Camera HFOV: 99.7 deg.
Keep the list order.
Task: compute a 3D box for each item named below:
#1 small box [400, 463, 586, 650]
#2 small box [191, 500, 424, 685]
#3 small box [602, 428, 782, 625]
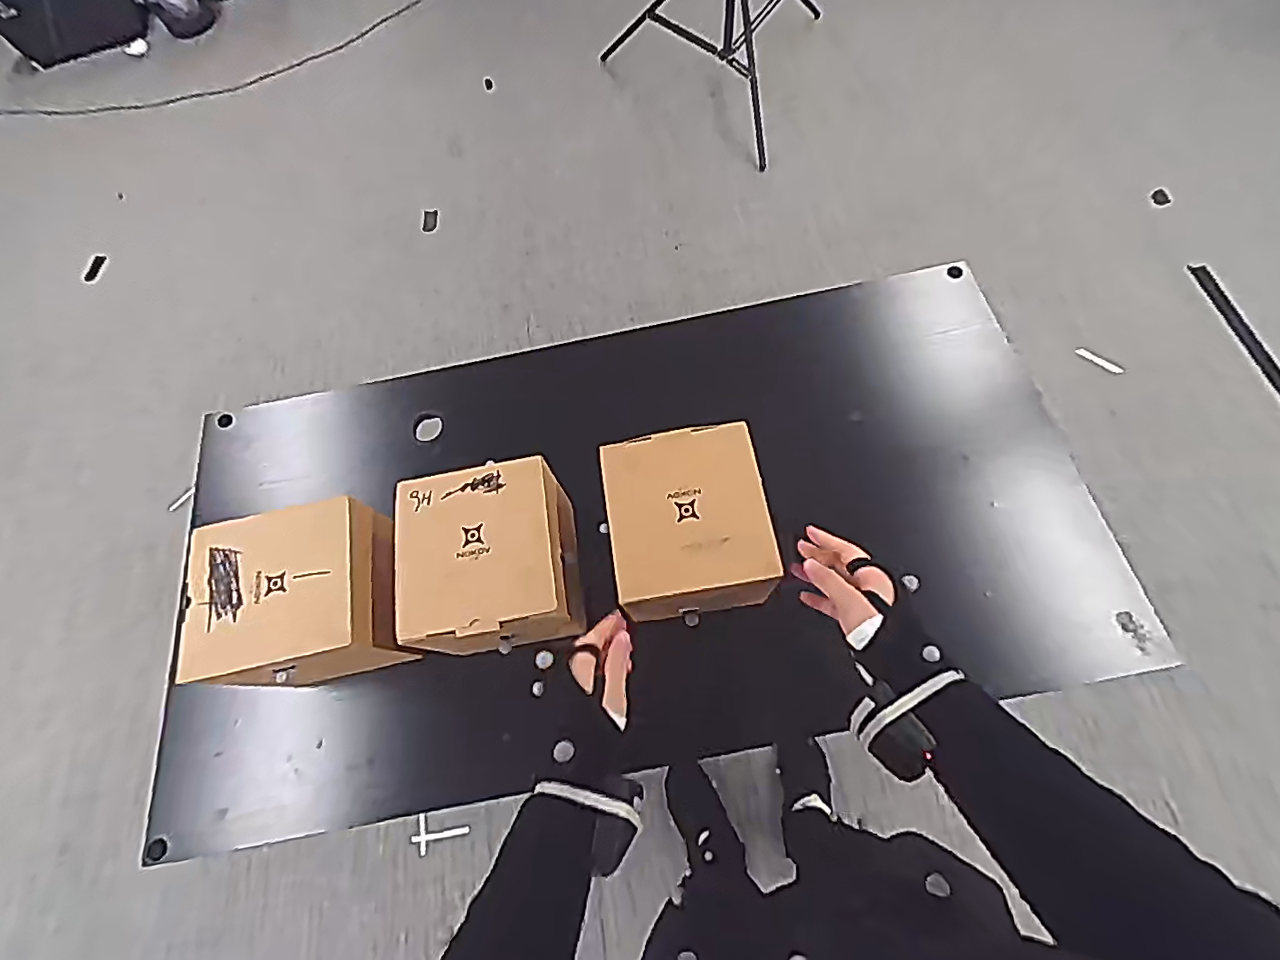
[{"bbox_3d":[-0.166,0.102,0.646,0.168,0.176,0.179,-11,68,2],"label":"small box"},{"bbox_3d":[-0.377,0.144,0.648,0.179,0.176,0.168,-13,68,-1],"label":"small box"},{"bbox_3d":[0.057,0.063,0.643,0.168,0.176,0.179,-11,69,3],"label":"small box"}]
